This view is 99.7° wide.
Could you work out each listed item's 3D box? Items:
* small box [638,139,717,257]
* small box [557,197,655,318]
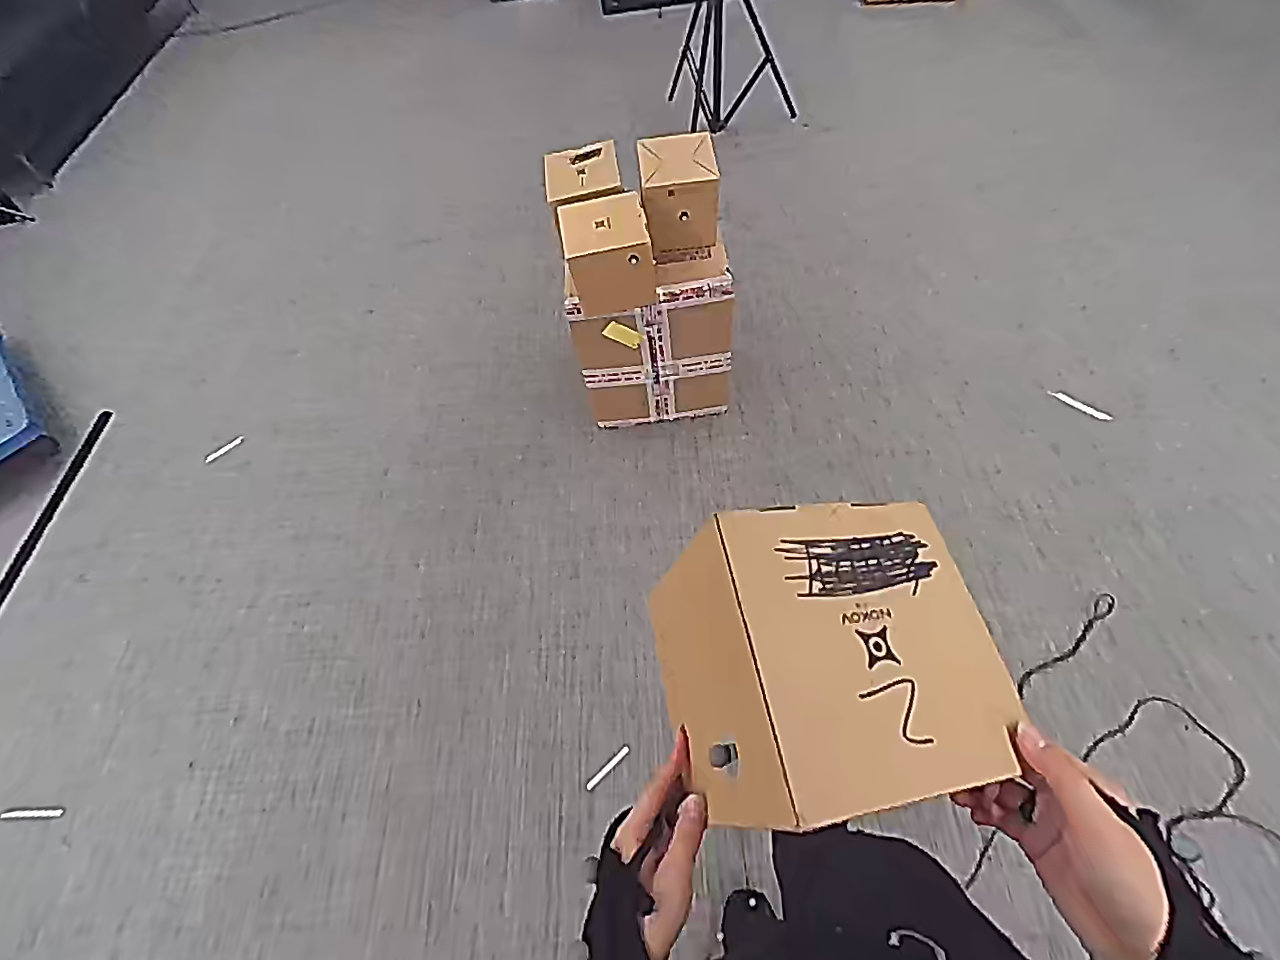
[{"bbox_3d":[0.085,-0.652,1.253,0.168,0.176,0.179,-6,61,1],"label":"small box"},{"bbox_3d":[-0.070,-0.479,1.183,0.179,0.176,0.168,-12,62,0],"label":"small box"}]
